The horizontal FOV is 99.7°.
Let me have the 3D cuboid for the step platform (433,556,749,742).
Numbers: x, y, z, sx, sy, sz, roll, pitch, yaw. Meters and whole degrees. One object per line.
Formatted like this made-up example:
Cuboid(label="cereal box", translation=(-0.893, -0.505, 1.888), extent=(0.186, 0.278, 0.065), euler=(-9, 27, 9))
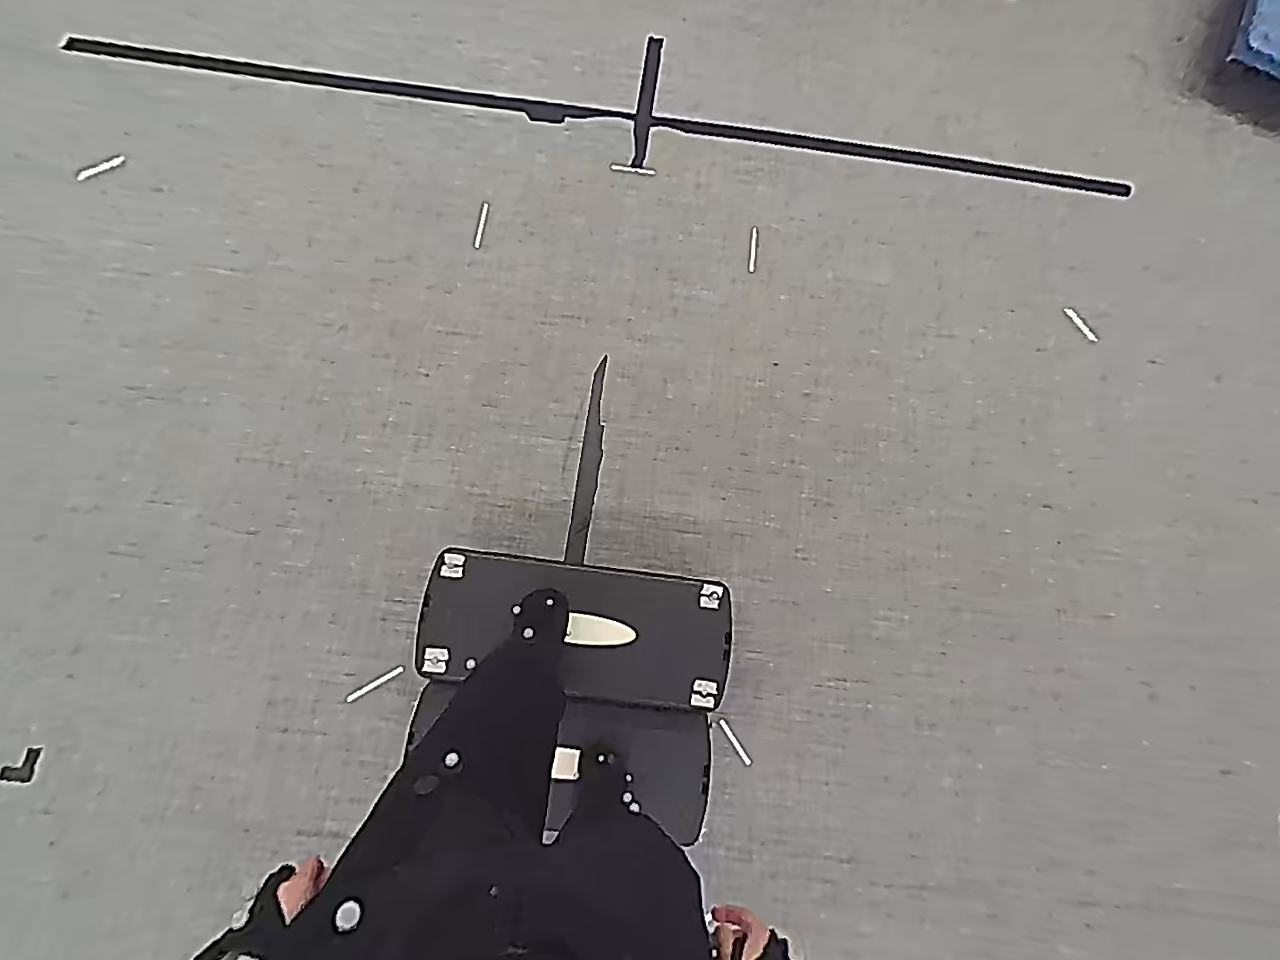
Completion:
Cuboid(label="step platform", translation=(-0.102, 0.376, 1.229), extent=(0.684, 0.204, 0.286), euler=(12, 74, -1))
